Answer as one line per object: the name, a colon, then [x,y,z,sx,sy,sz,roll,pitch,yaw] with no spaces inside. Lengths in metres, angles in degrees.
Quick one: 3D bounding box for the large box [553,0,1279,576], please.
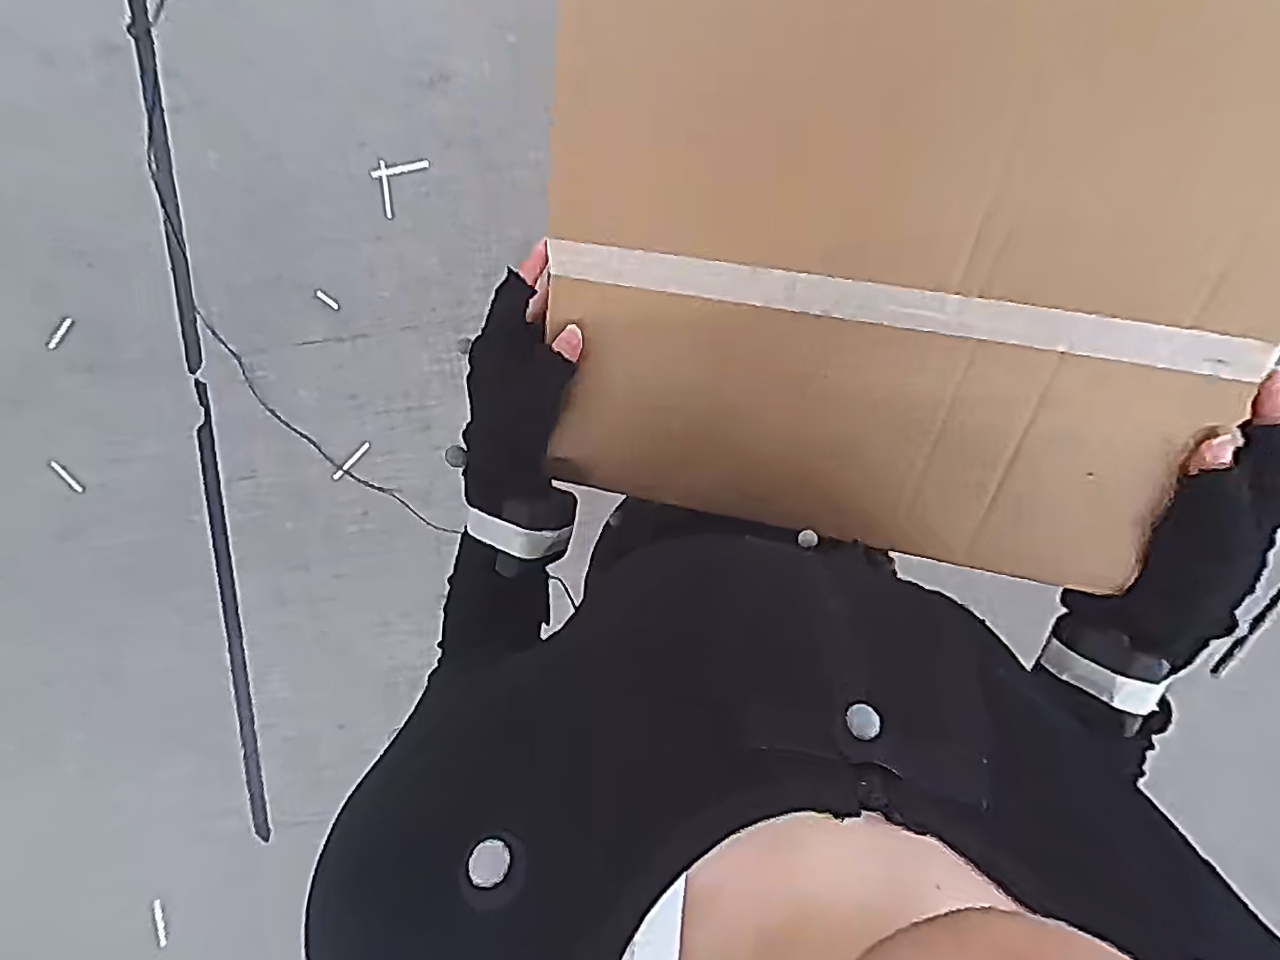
large box: [0.169,-0.166,0.456,0.408,0.320,0.320,12,117,7]
